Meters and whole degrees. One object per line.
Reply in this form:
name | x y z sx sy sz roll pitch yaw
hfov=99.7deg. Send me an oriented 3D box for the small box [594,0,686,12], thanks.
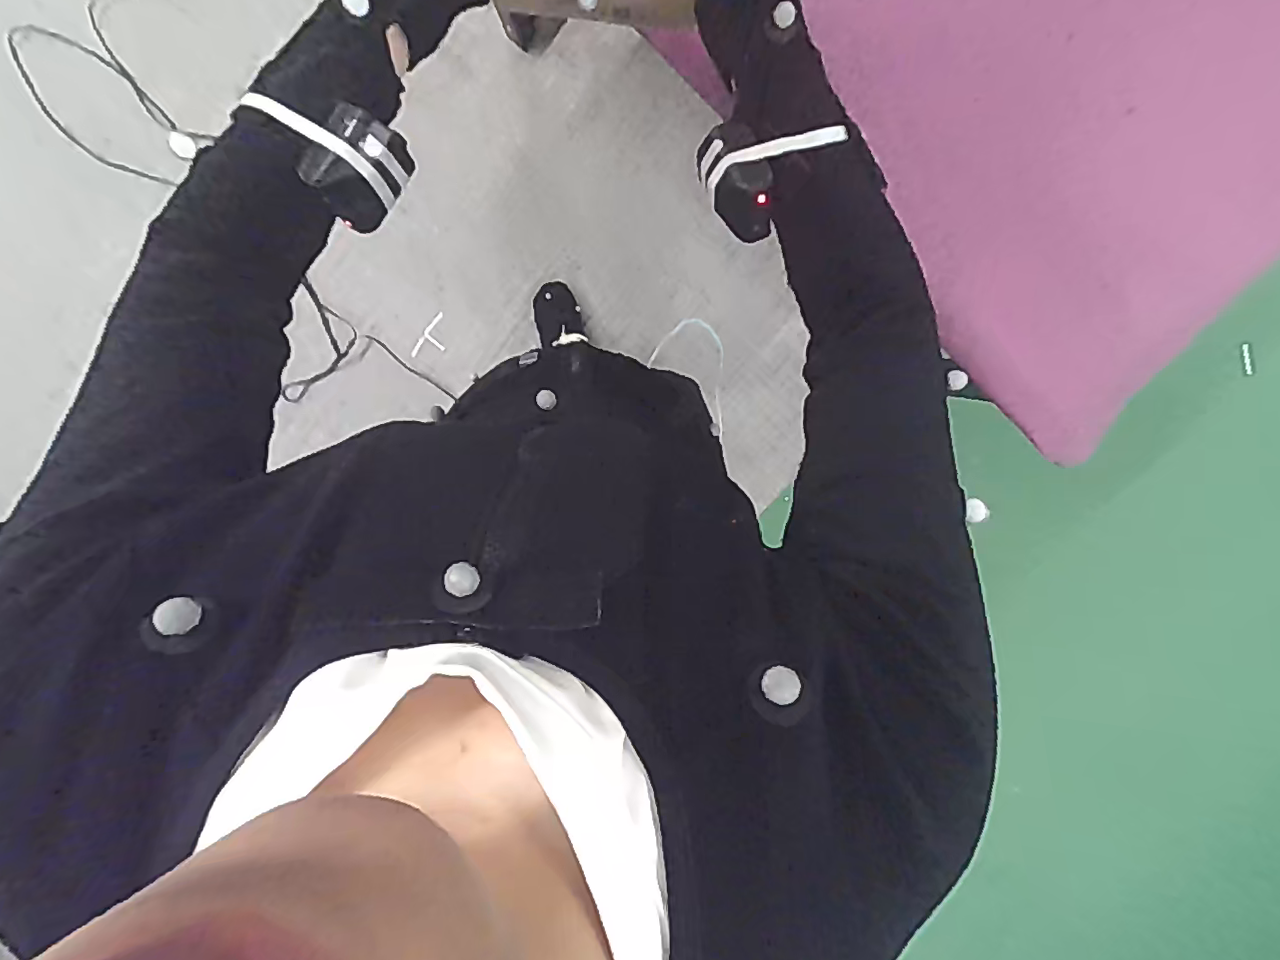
small box | -0.032 -0.450 0.338 0.168 0.176 0.179 8 107 0
